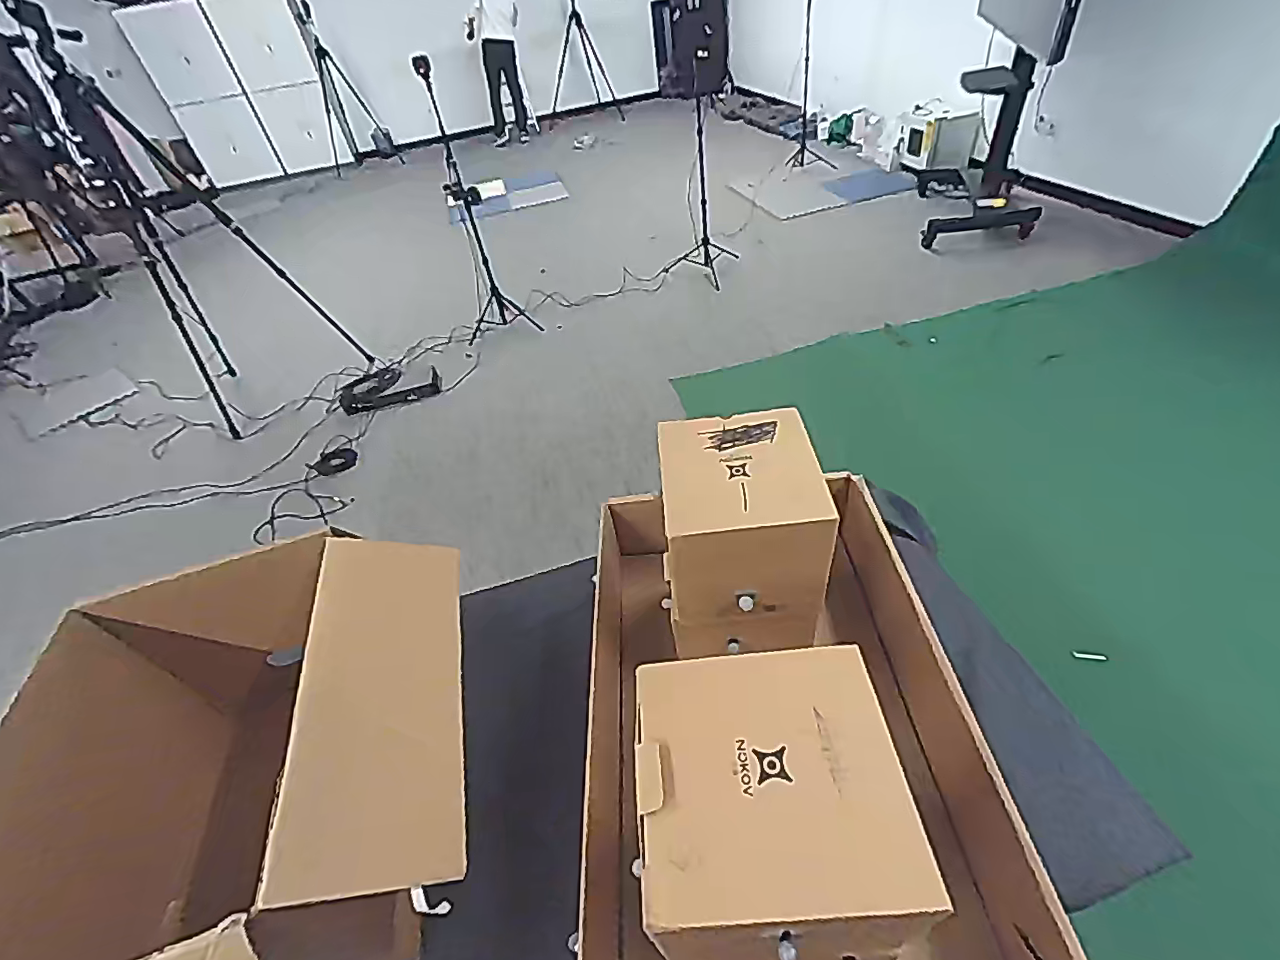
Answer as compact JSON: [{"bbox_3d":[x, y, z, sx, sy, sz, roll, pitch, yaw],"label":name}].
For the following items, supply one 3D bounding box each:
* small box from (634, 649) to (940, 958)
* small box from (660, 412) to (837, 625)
[{"bbox_3d":[0.094,0.255,0.423,0.179,0.176,0.168,-6,44,3],"label":"small box"},{"bbox_3d":[0.114,0.046,0.629,0.168,0.176,0.179,-6,46,4],"label":"small box"}]
